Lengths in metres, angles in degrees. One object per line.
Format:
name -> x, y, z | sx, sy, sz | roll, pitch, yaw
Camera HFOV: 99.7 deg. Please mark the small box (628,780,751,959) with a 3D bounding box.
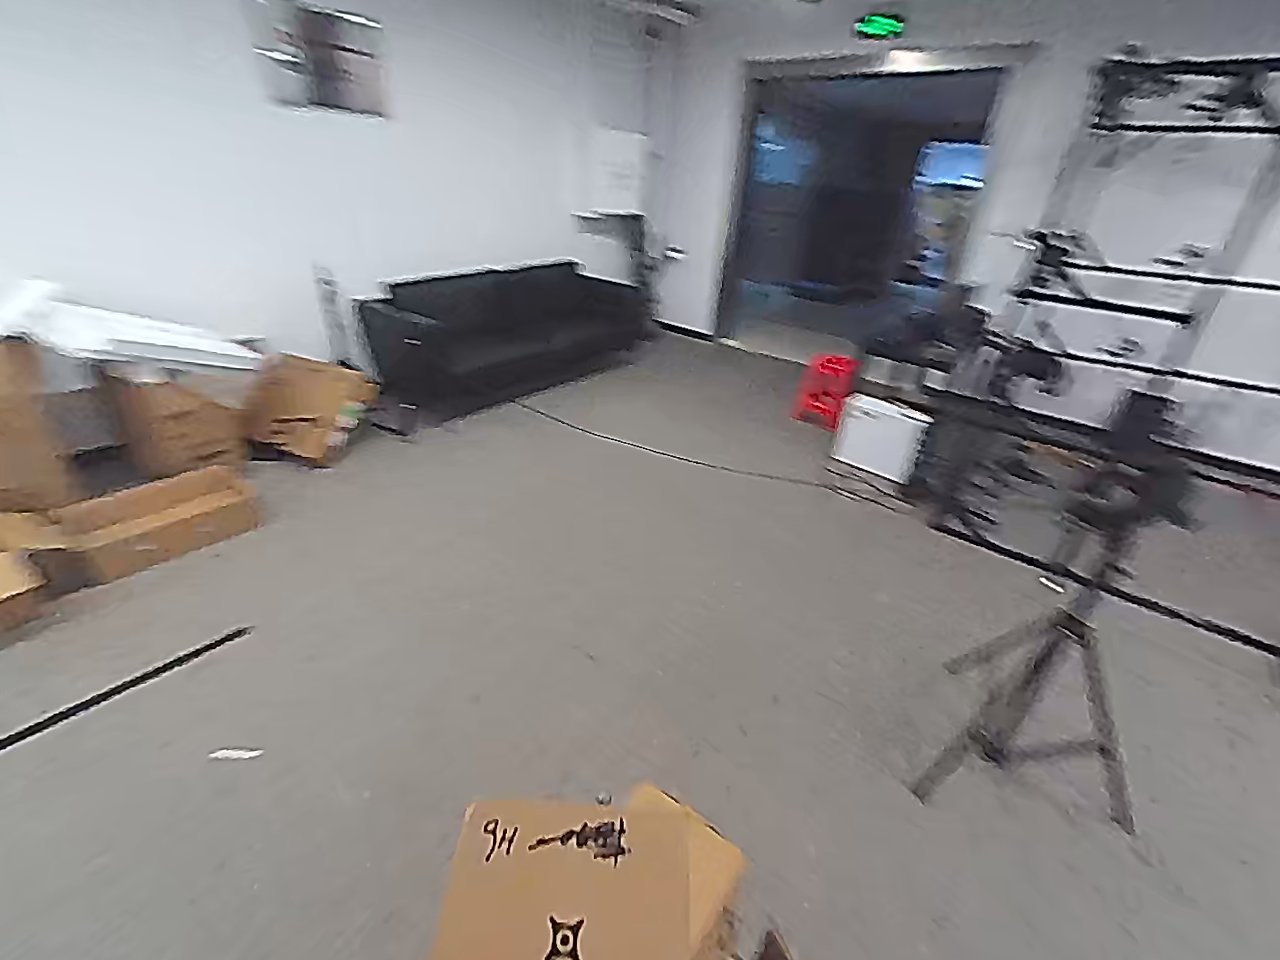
small box -> 0.023, 0.551, 0.704 | 0.168, 0.176, 0.179 | 21, 36, 32
